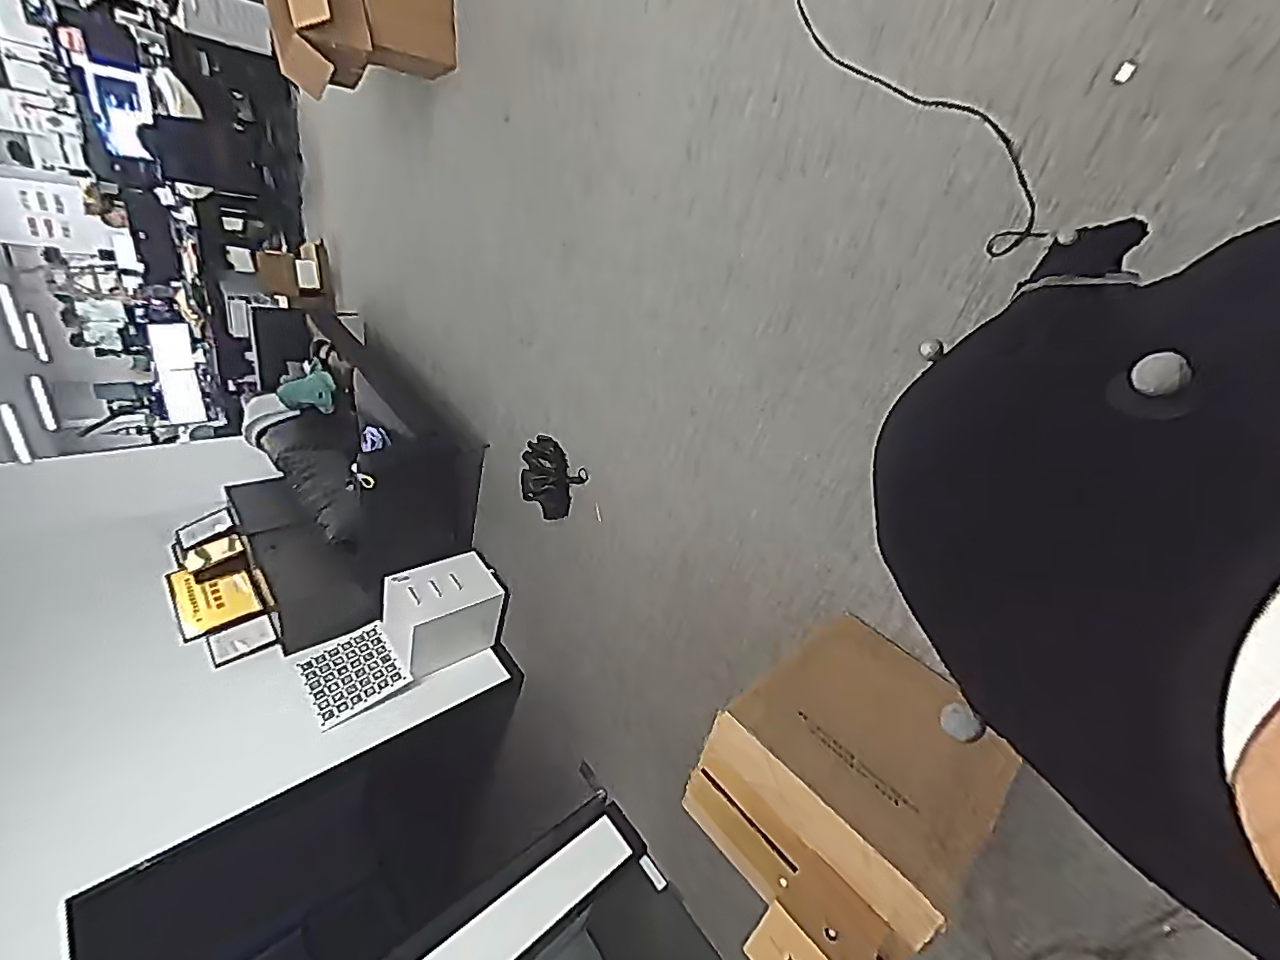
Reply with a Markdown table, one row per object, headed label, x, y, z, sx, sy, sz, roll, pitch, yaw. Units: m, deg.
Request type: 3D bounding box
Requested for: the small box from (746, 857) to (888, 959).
| label | x | y | z | sx | sy | sz | roll | pitch | yaw |
| --- | --- | --- | --- | --- | --- | --- | --- | --- | --- |
| small box | 0.345 | 0.890 | 1.045 | 0.179 | 0.176 | 0.168 | 35 | 116 | 36 |
